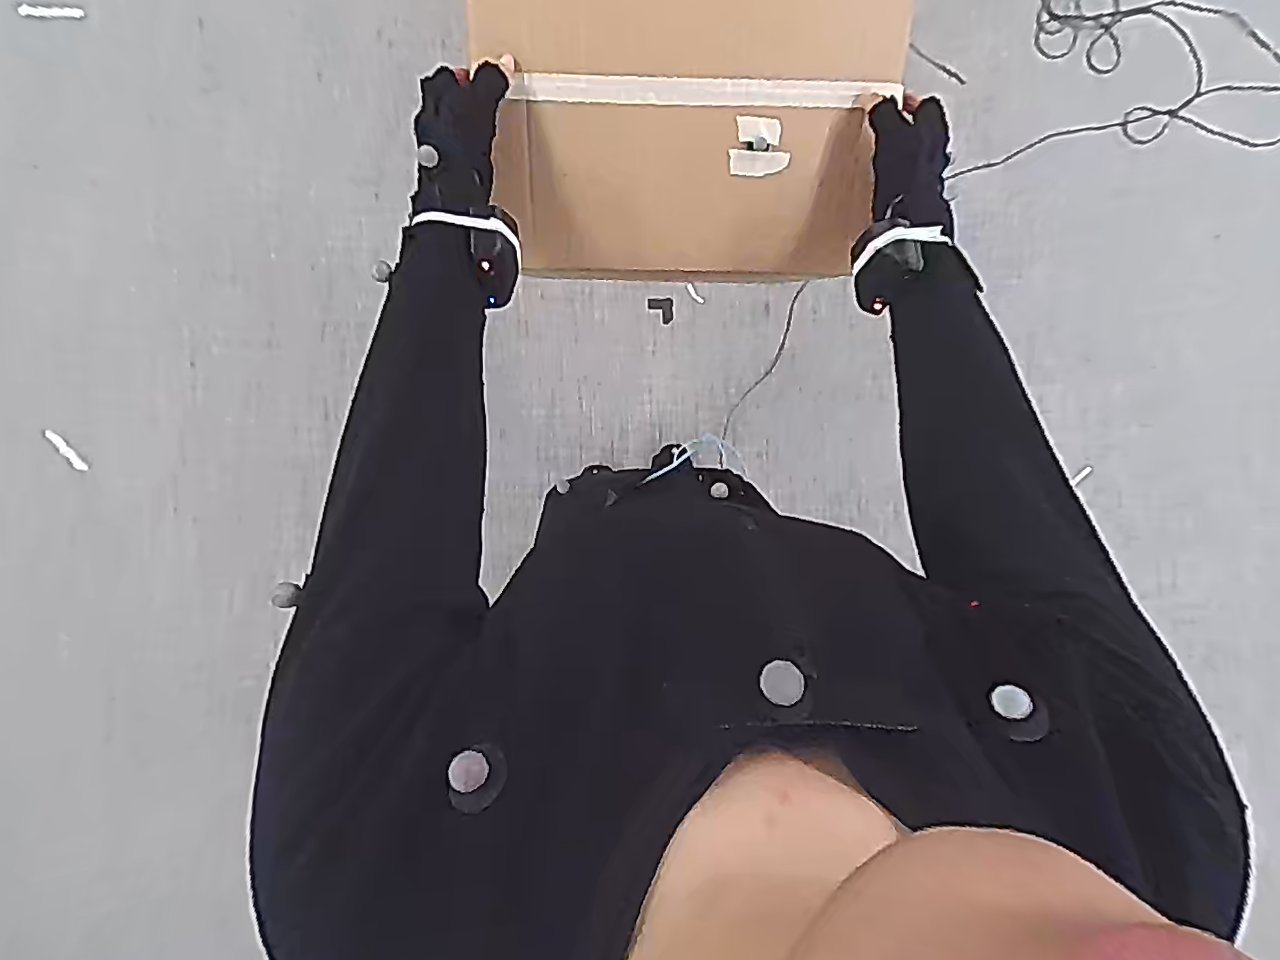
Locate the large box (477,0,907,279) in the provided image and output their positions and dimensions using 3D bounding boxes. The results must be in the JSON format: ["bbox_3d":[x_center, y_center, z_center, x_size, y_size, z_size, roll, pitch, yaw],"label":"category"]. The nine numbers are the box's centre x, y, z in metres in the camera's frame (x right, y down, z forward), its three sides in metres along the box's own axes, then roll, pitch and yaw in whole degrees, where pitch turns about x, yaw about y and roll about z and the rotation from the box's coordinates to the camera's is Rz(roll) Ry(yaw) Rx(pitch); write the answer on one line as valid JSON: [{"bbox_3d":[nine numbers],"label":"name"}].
[{"bbox_3d":[0.040,-0.418,0.657,0.408,0.320,0.320,0,108,-4],"label":"large box"}]
